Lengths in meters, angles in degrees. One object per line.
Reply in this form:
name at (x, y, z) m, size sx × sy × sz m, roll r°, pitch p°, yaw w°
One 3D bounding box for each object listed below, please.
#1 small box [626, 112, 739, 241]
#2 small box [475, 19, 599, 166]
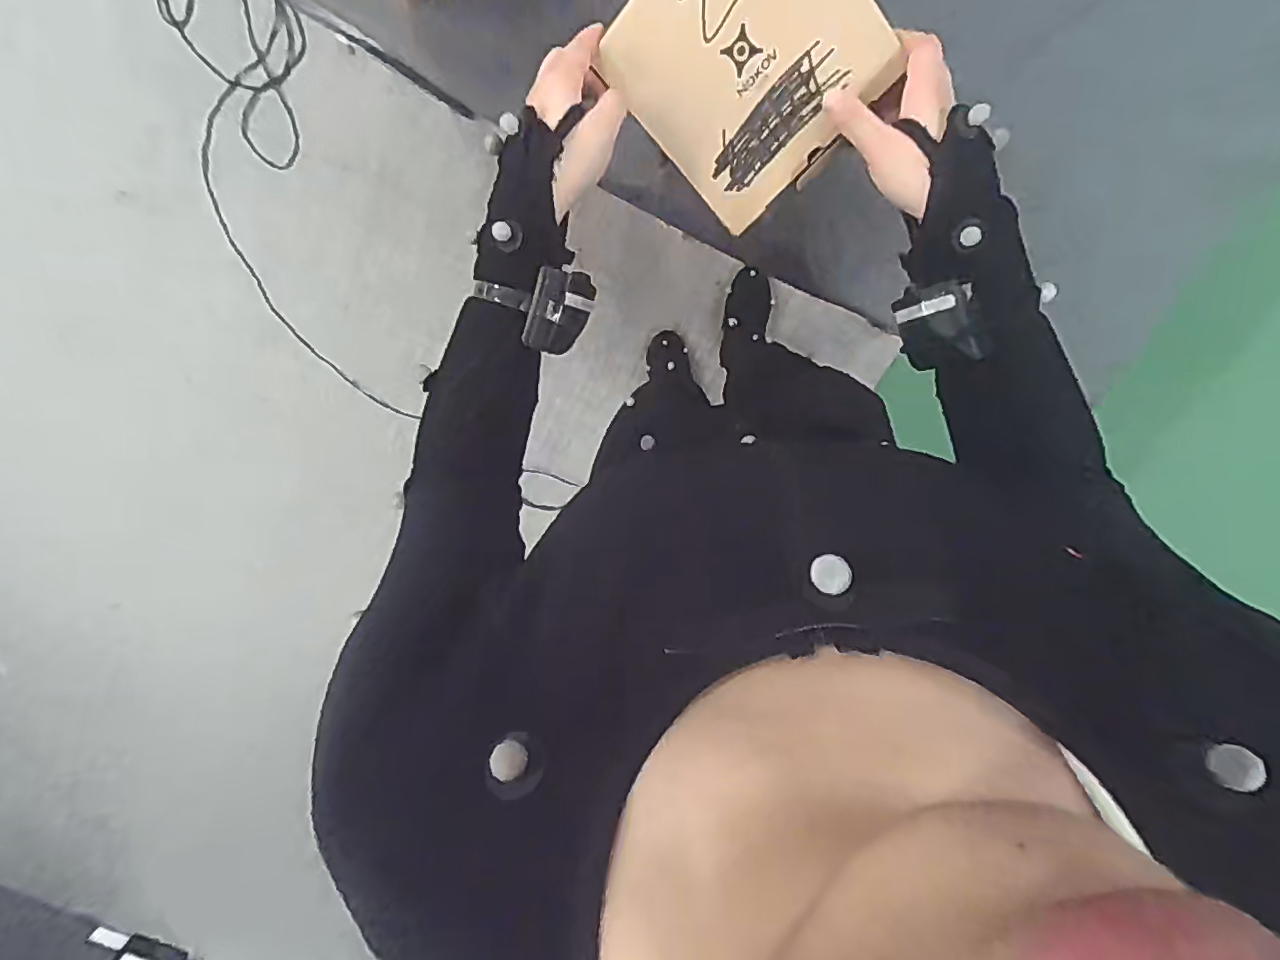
small box at (0.096, -0.646, 1.179) m, size 0.168 × 0.176 × 0.179 m, roll -42°, pitch 100°, yaw 18°
small box at (-0.211, -0.806, 1.152) m, size 0.179 × 0.176 × 0.168 m, roll 37°, pitch 110°, yaw -7°
